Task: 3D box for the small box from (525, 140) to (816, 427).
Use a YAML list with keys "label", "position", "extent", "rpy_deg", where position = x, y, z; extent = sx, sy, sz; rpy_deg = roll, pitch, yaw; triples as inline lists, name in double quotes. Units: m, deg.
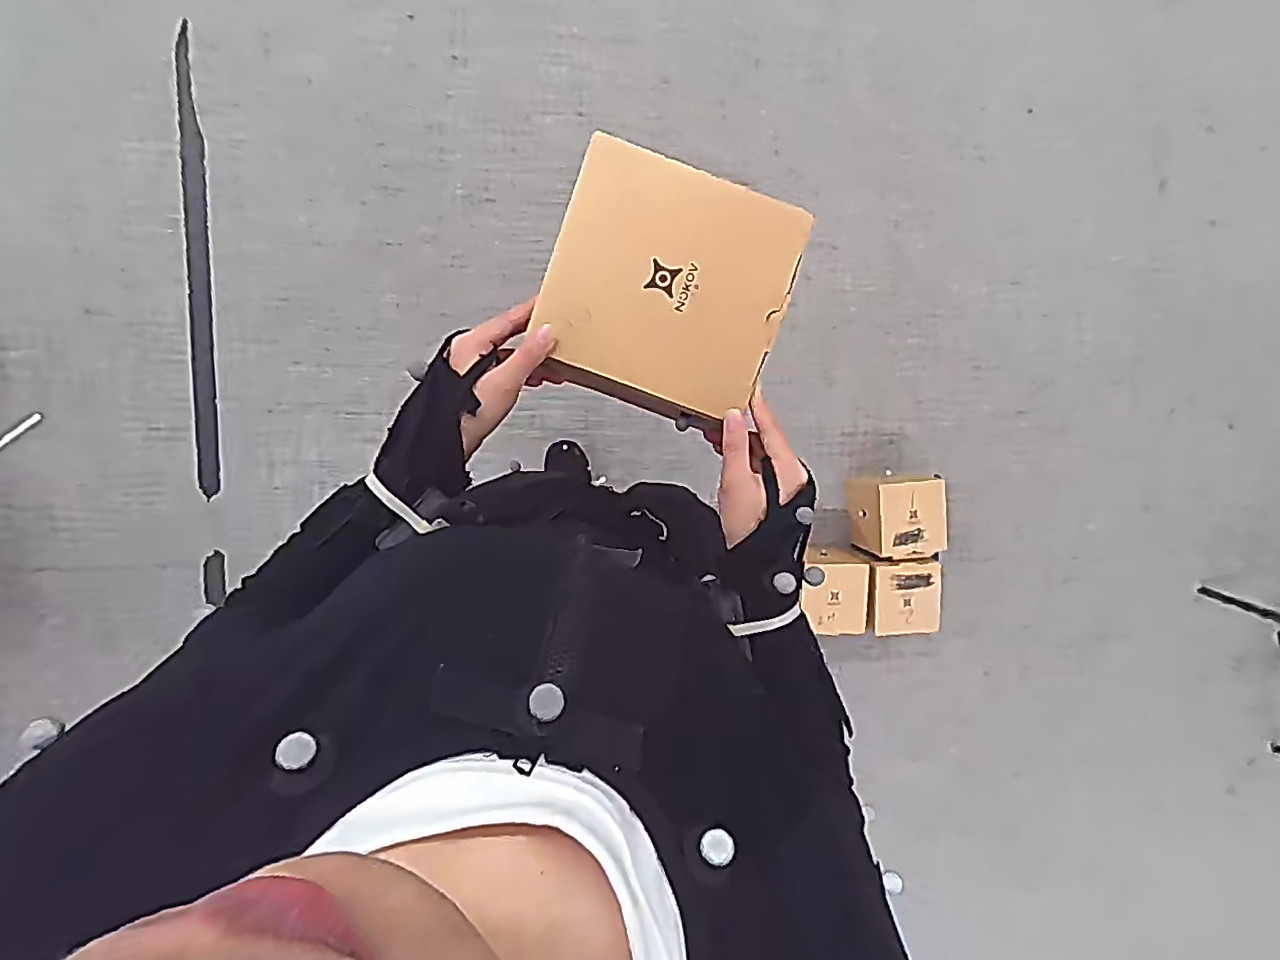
- label: "small box"
  position: [0.021, -0.148, 0.478]
  extent: [0.179, 0.176, 0.168]
  rpy_deg: [20, 93, -2]
